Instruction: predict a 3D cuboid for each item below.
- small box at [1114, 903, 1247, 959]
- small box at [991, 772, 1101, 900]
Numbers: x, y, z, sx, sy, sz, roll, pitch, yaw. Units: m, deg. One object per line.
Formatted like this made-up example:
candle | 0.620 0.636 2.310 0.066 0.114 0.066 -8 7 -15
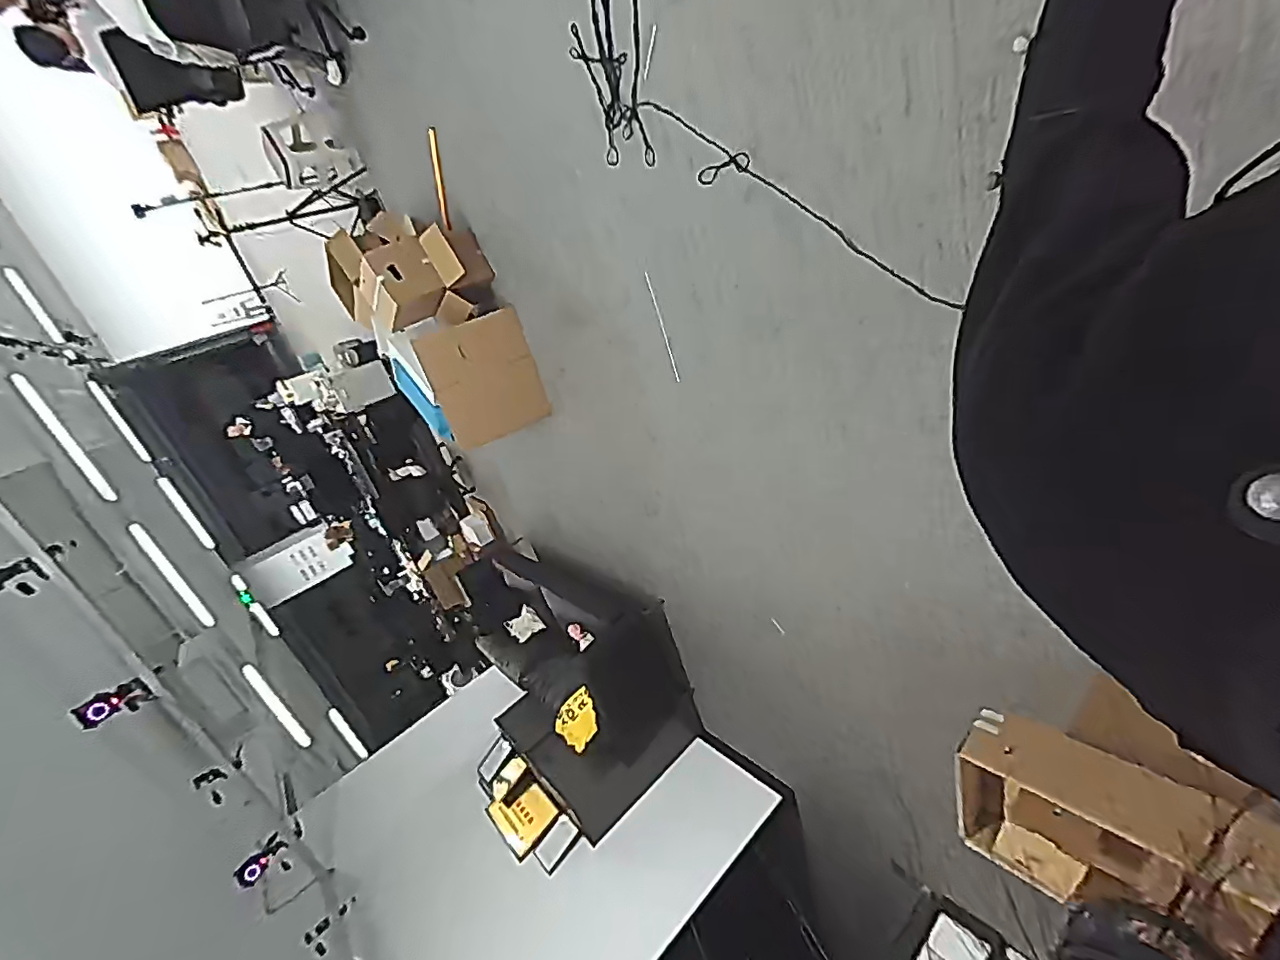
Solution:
small box | 1.070 0.995 1.053 0.168 0.176 0.179 -13 106 57
small box | 1.013 0.878 1.348 0.168 0.176 0.179 24 136 42
